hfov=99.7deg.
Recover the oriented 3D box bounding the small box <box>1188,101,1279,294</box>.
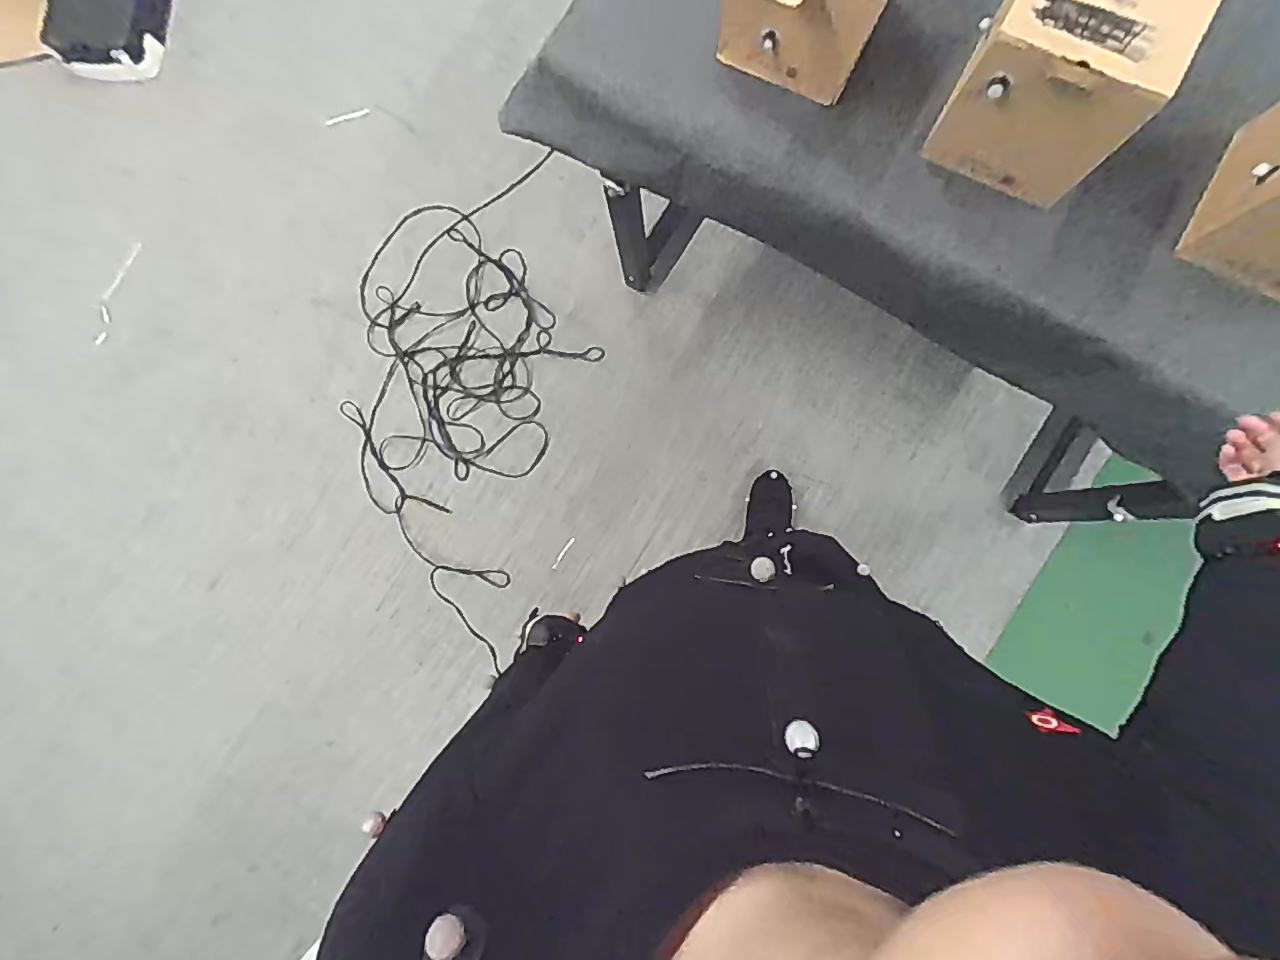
[{"bbox_3d":[0.731,-0.310,0.547,0.168,0.176,0.179,28,86,5],"label":"small box"}]

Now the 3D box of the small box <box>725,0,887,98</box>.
[{"bbox_3d":[0.206,-0.594,0.609,0.168,0.176,0.179,27,88,5],"label":"small box"}]
